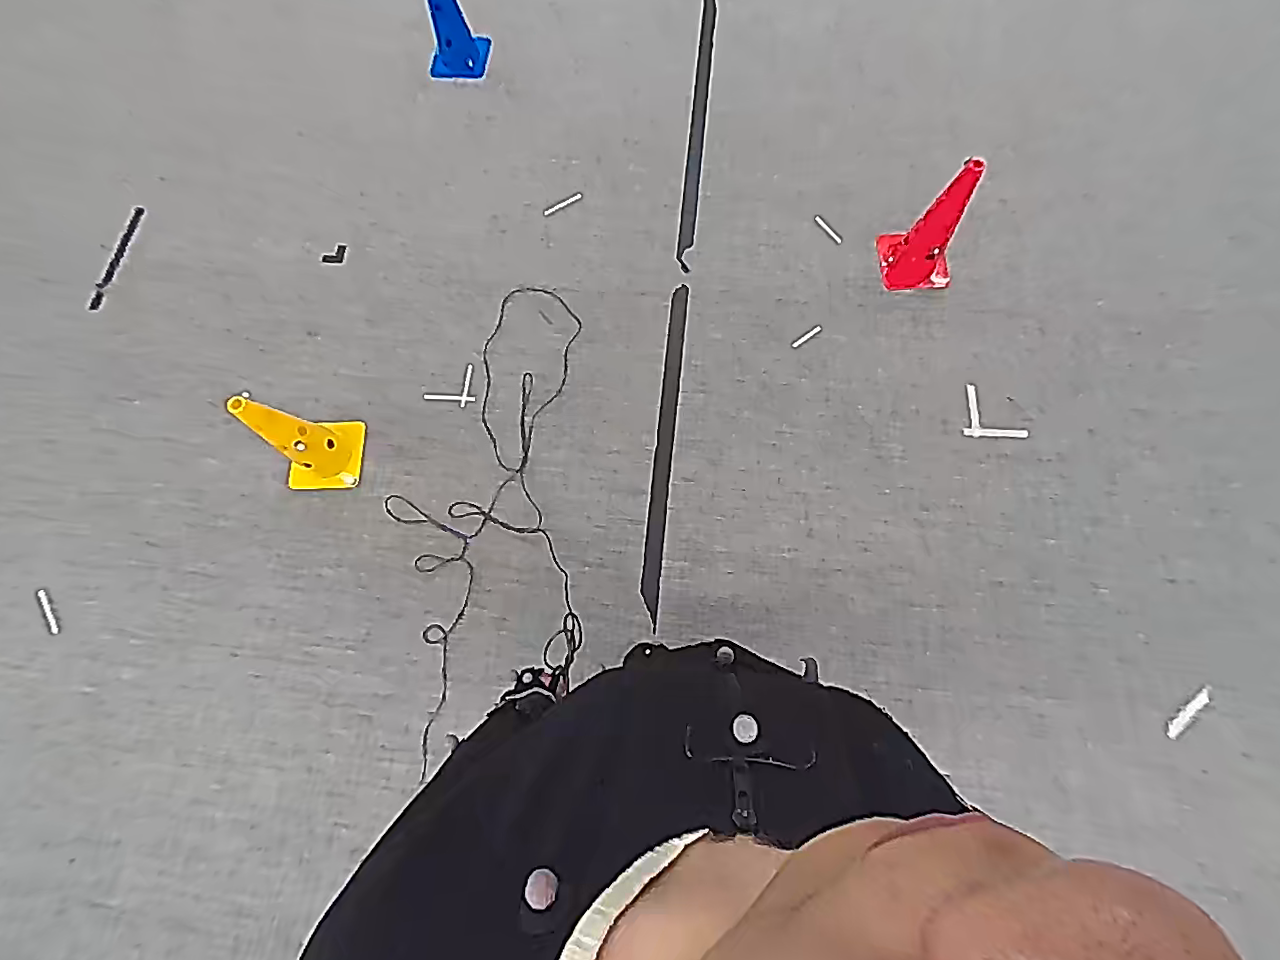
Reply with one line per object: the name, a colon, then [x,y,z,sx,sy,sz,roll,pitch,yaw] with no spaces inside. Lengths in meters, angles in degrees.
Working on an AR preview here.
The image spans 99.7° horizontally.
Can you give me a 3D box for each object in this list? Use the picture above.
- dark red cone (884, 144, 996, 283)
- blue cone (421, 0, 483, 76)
dark red cone: [0.831,-0.726,1.459,0.201,0.394,0.202,-3,73,2]
blue cone: [-0.674,-1.576,1.793,0.192,0.380,0.193,5,74,5]
